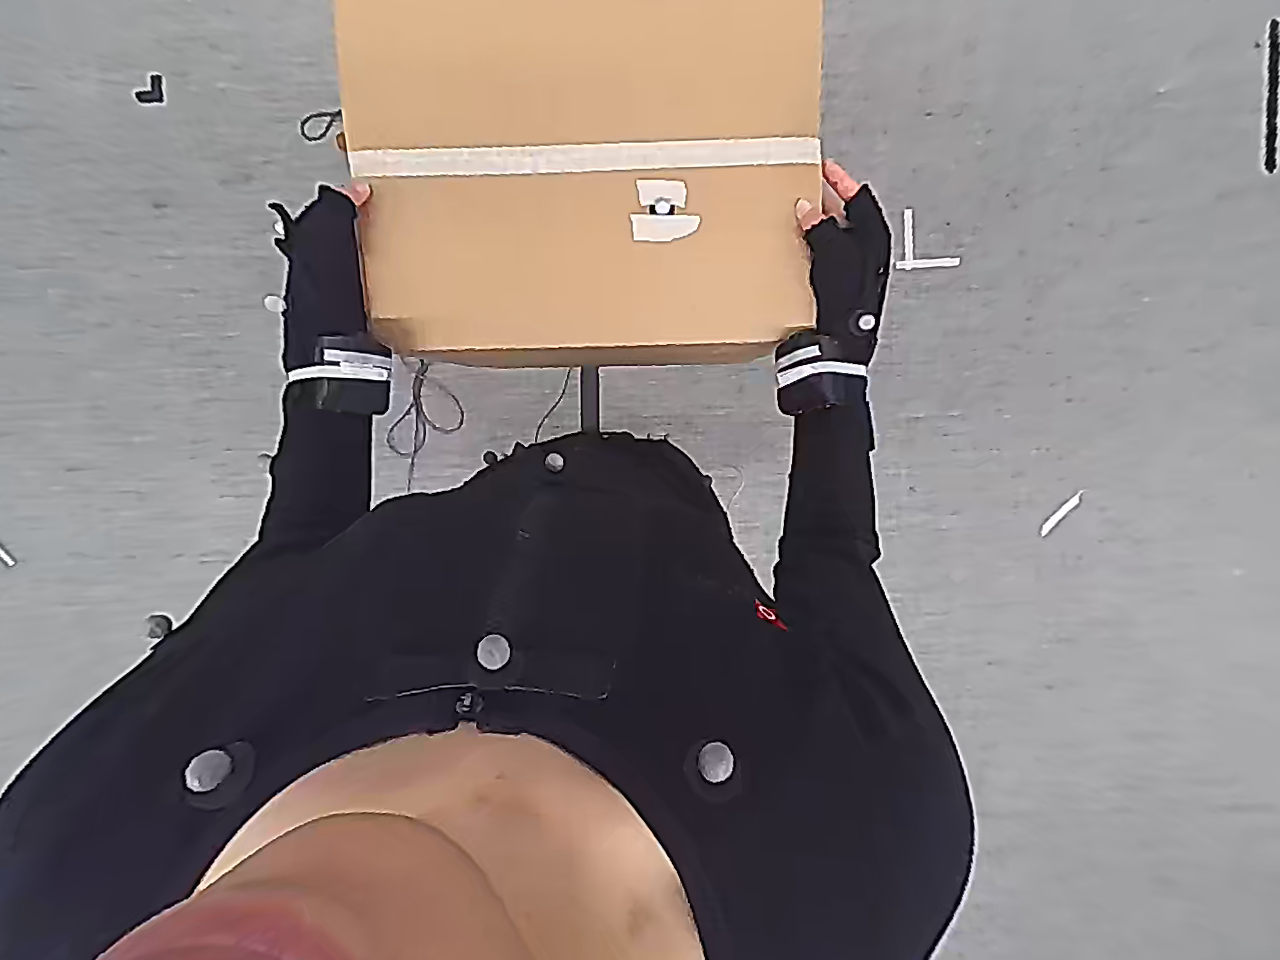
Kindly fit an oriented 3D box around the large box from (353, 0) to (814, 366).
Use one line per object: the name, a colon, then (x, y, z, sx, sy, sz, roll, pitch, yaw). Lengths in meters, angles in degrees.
large box: (-0.046, -0.306, 0.631, 0.408, 0.320, 0.320, -2, 99, 0)
